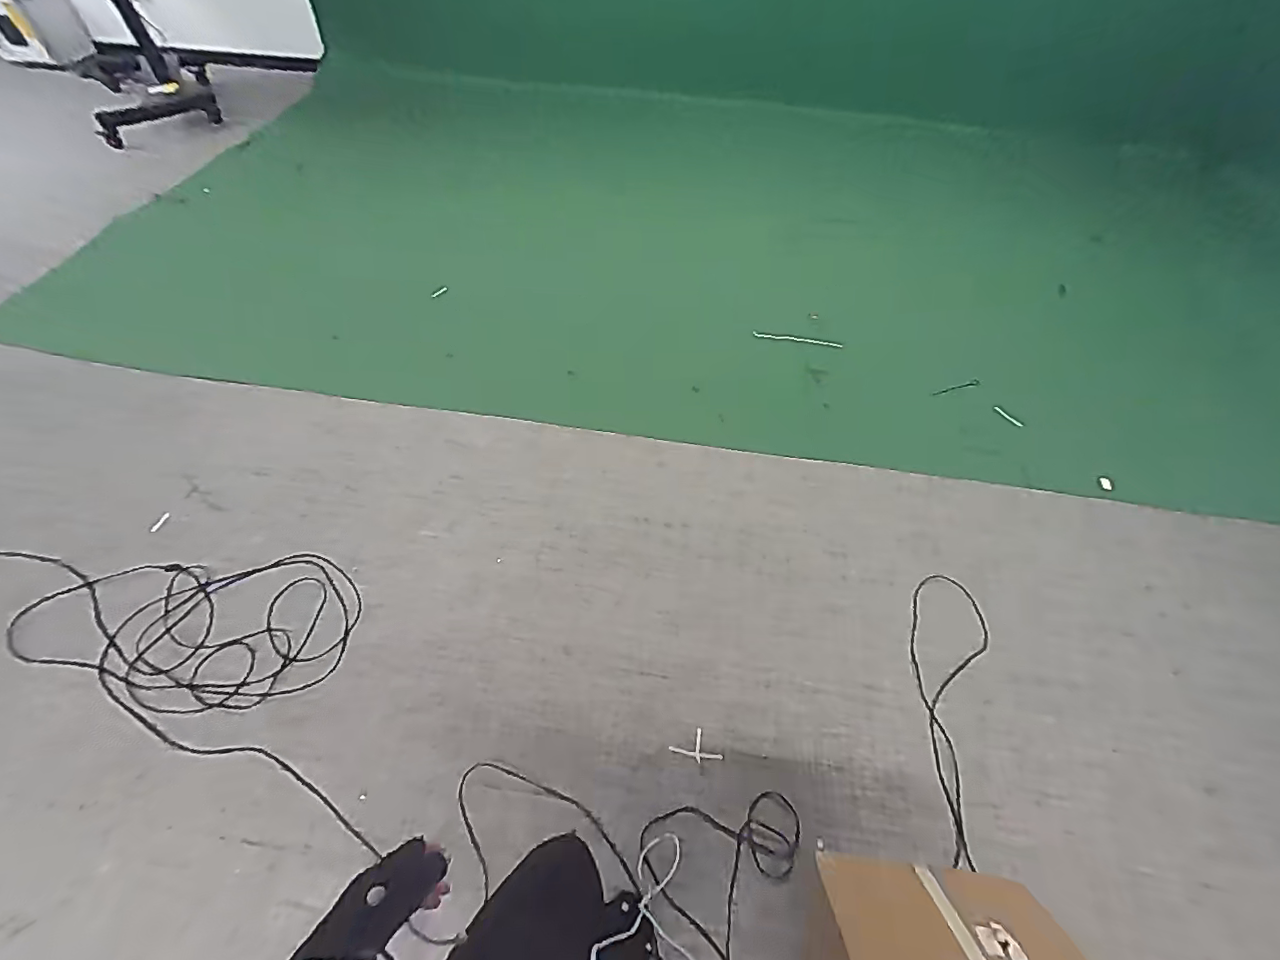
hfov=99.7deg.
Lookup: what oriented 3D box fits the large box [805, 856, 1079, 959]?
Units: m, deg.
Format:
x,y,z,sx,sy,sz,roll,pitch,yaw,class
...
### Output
x,y,z,sx,sy,sz,roll,pitch,yaw,class
0.392,0.747,0.633,0.320,0.408,0.320,7,91,4,large box
